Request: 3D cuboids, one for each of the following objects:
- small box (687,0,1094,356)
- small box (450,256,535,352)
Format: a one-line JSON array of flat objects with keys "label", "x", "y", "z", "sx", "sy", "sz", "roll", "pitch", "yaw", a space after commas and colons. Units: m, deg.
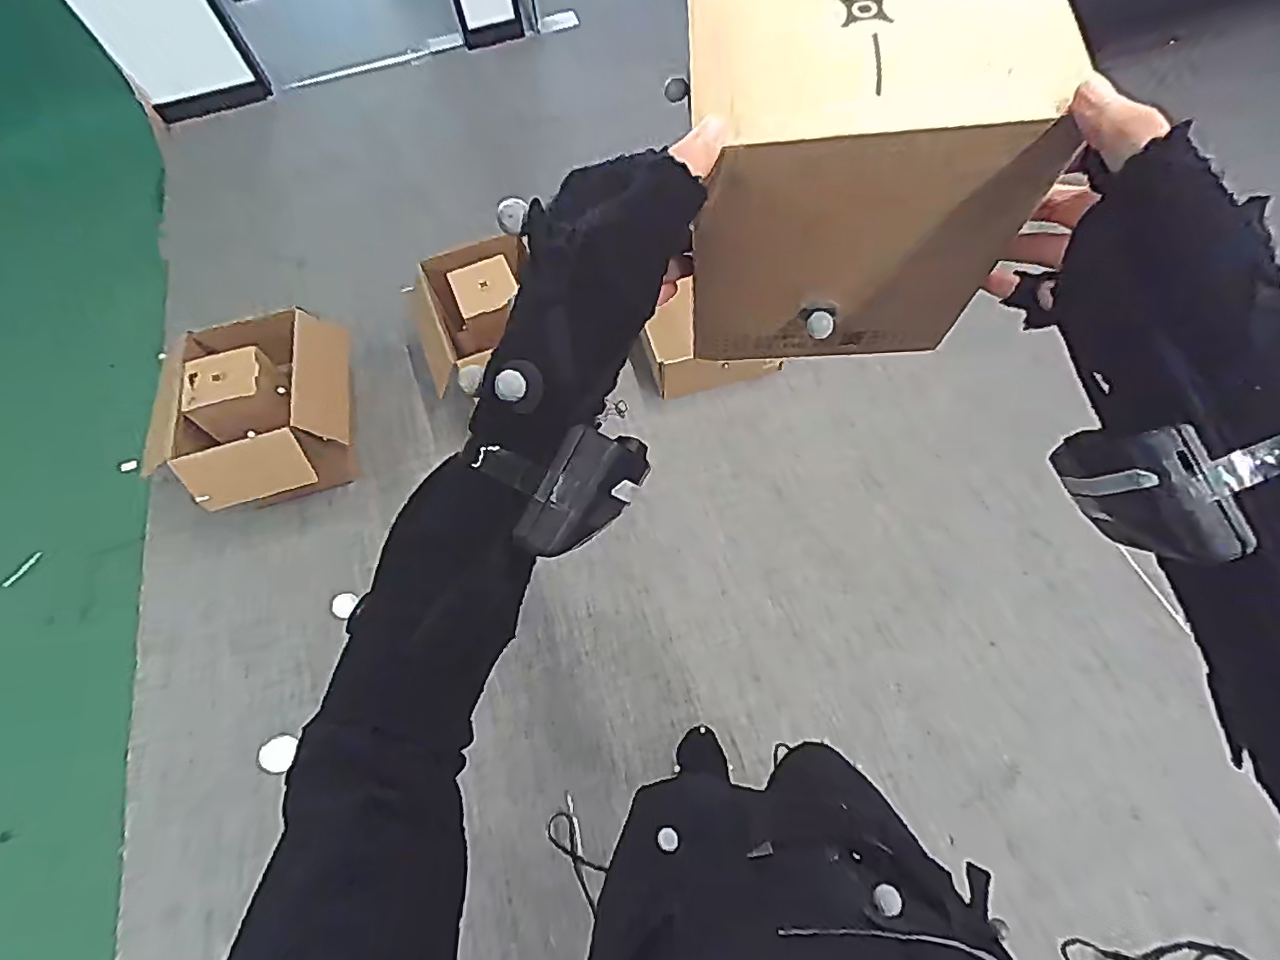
[{"label": "small box", "x": 0.112, "y": -0.197, "z": 0.330, "sx": 0.168, "sy": 0.176, "sz": 0.179, "roll": -1, "pitch": 70, "yaw": 6}, {"label": "small box", "x": -0.408, "y": -0.485, "z": 1.521, "sx": 0.168, "sy": 0.176, "sz": 0.179, "roll": -22, "pitch": 67, "yaw": -8}]
